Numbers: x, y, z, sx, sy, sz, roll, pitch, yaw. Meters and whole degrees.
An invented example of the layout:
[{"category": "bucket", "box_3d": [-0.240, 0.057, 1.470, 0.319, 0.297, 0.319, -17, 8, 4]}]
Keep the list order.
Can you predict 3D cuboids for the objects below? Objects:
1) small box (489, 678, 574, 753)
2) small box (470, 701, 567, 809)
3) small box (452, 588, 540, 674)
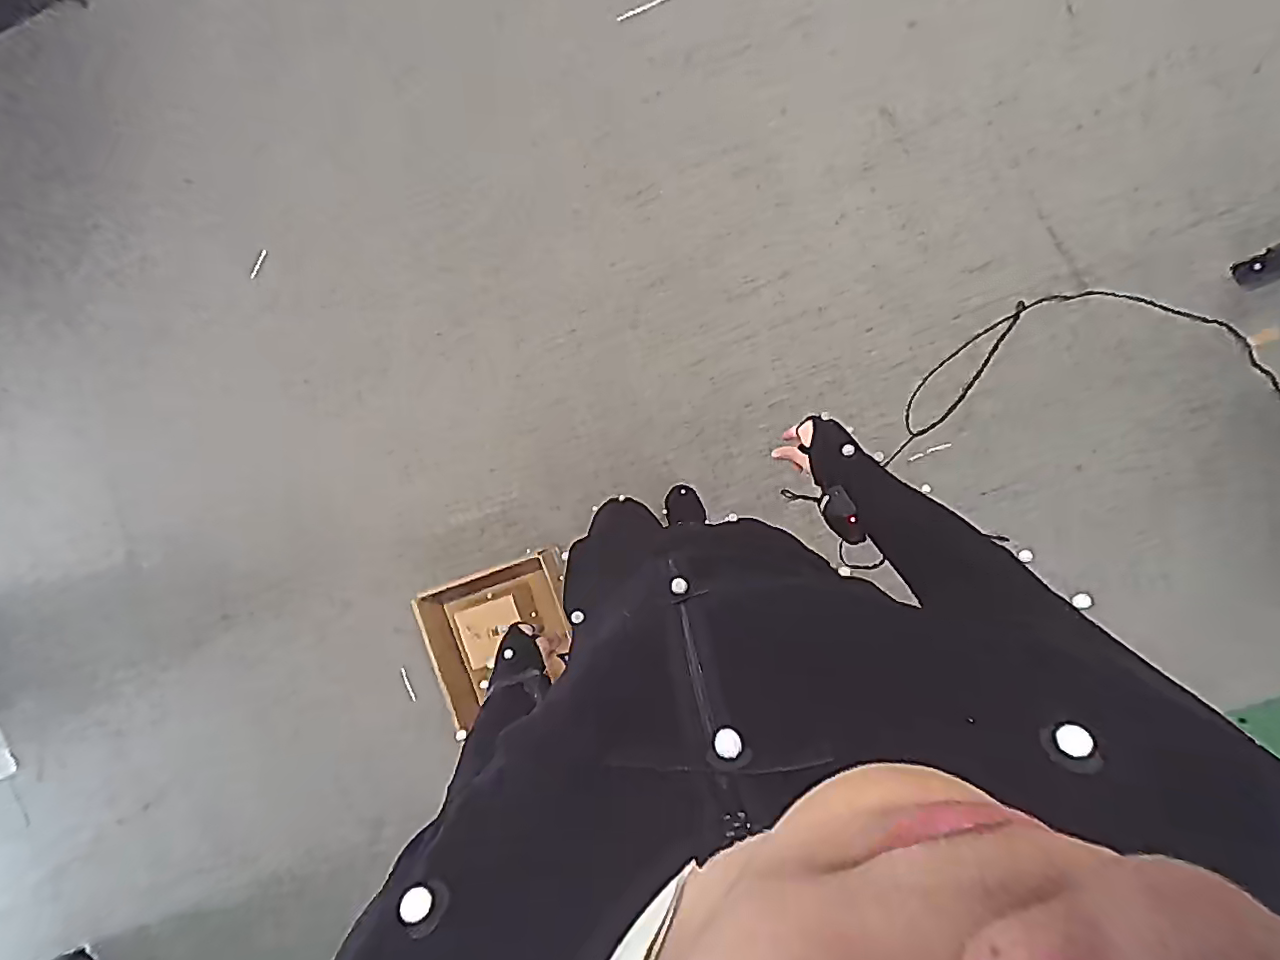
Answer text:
[{"category": "small box", "box_3d": [-0.297, 0.688, 1.536, 0.179, 0.176, 0.168, -20, 89, 5]}, {"category": "small box", "box_3d": [-0.300, 0.683, 1.371, 0.168, 0.176, 0.179, -20, 89, 5]}, {"category": "small box", "box_3d": [-0.397, 0.419, 1.533, 0.179, 0.176, 0.168, -18, 91, 5]}]
